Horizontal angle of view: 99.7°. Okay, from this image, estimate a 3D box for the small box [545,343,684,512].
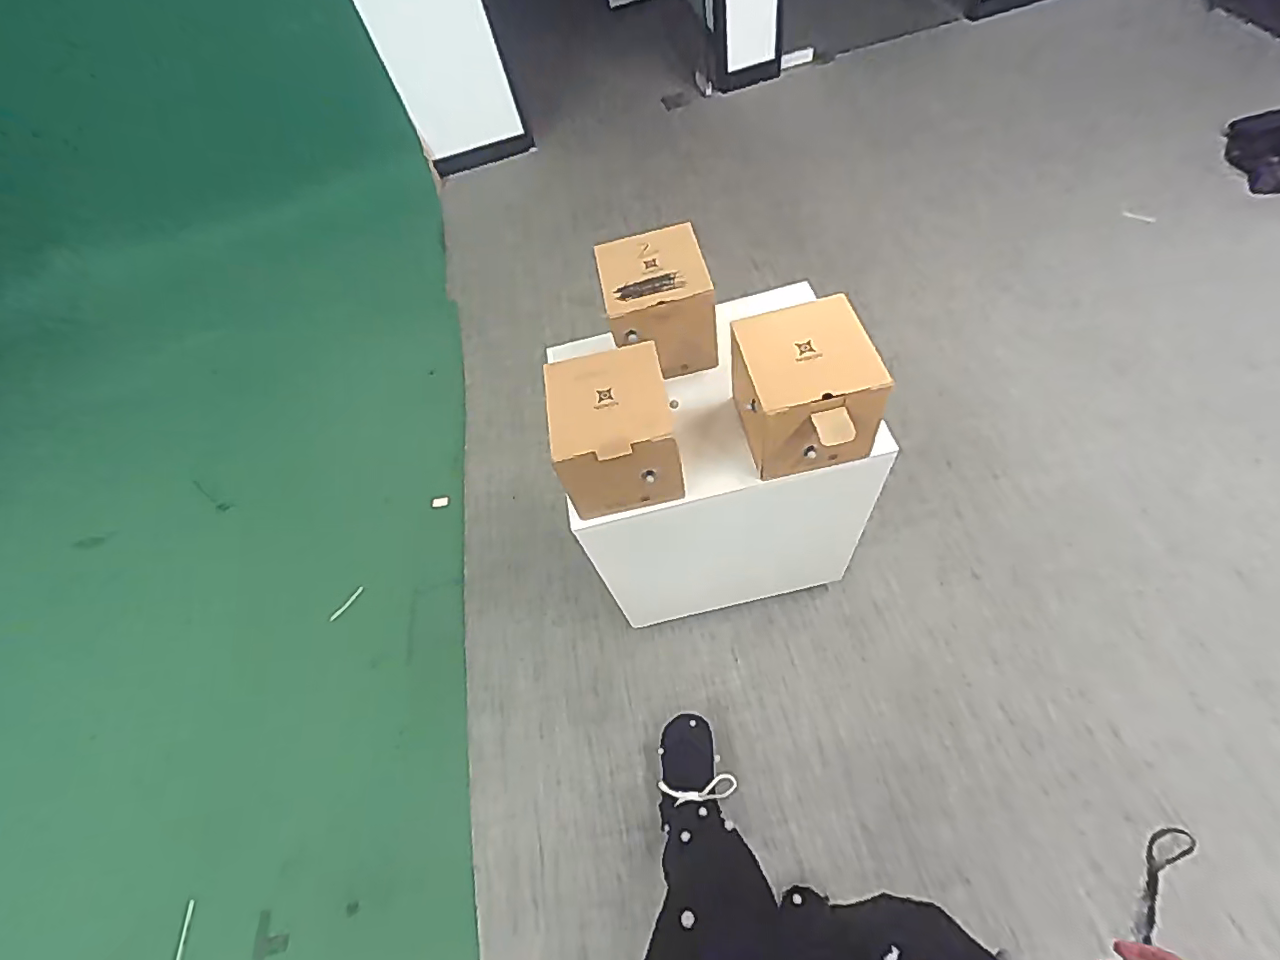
[{"bbox_3d":[-0.034,-0.067,0.796,0.168,0.176,0.179,-12,56,2],"label":"small box"}]

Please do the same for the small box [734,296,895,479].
[{"bbox_3d":[0.235,-0.129,0.782,0.168,0.176,0.179,-13,58,3],"label":"small box"}]
